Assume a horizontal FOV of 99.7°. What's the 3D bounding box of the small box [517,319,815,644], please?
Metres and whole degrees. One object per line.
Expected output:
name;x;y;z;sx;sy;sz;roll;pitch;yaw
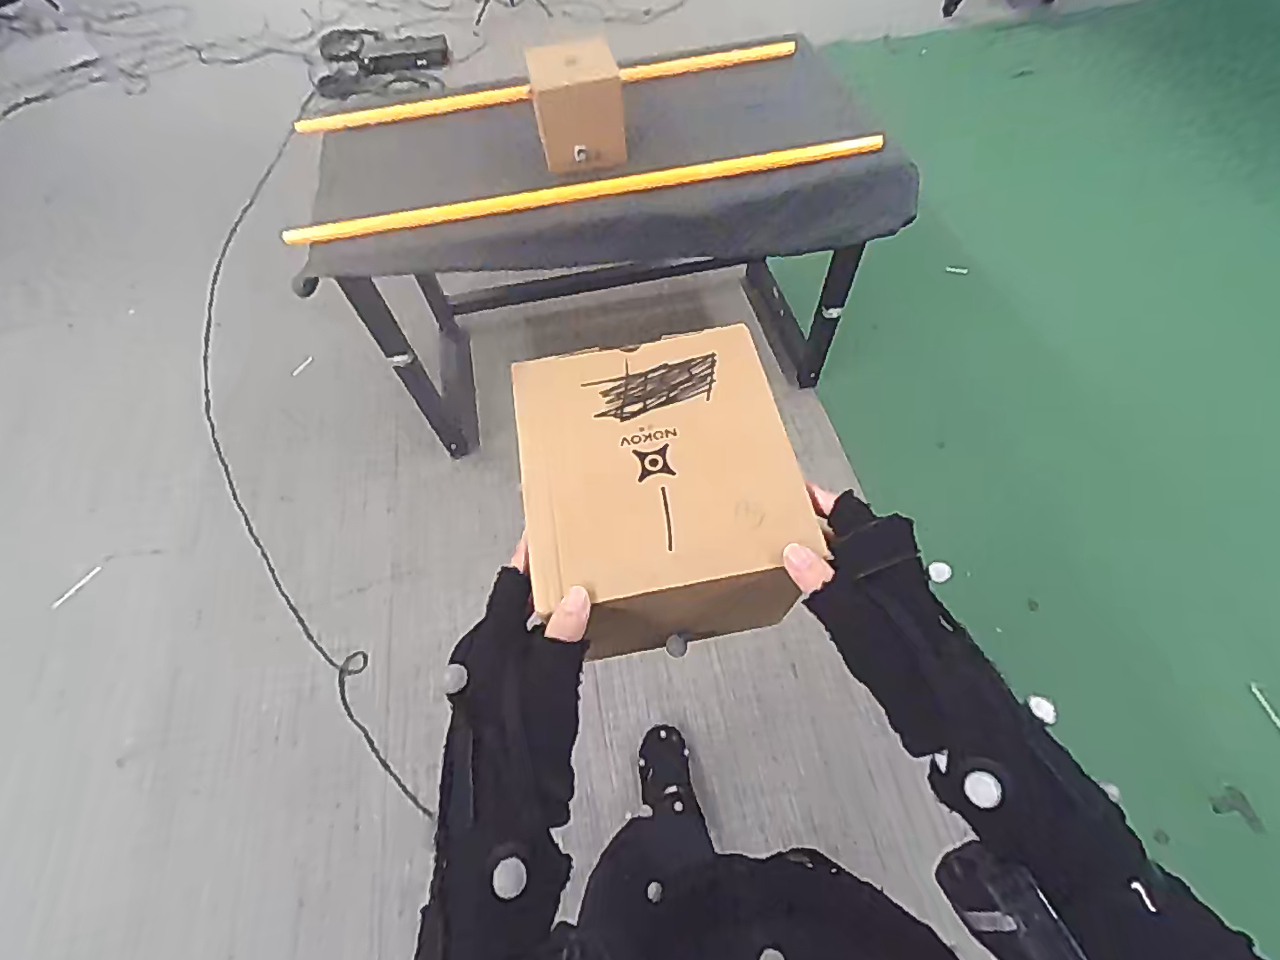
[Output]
small box;0.011;0.011;0.413;0.168;0.176;0.179;-11;63;-1

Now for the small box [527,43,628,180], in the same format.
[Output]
small box;-0.126;-0.762;1.124;0.168;0.176;0.179;-14;61;-3
